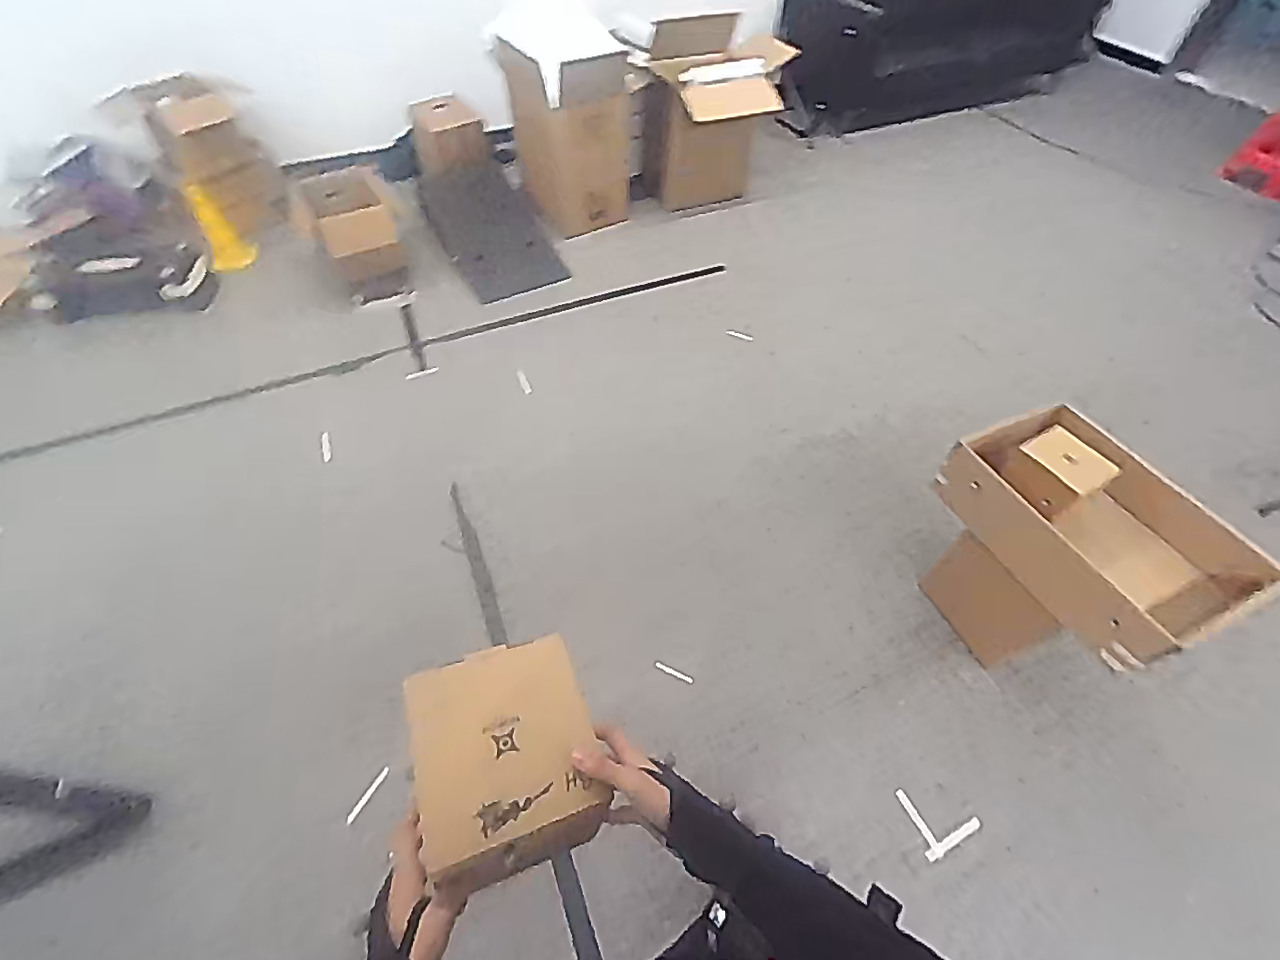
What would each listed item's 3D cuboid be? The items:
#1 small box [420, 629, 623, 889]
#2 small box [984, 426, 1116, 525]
[{"bbox_3d":[-0.133,0.292,0.576,0.168,0.176,0.179,-9,49,-22],"label":"small box"},{"bbox_3d":[1.061,-0.004,1.414,0.168,0.176,0.179,-23,56,-19],"label":"small box"}]
